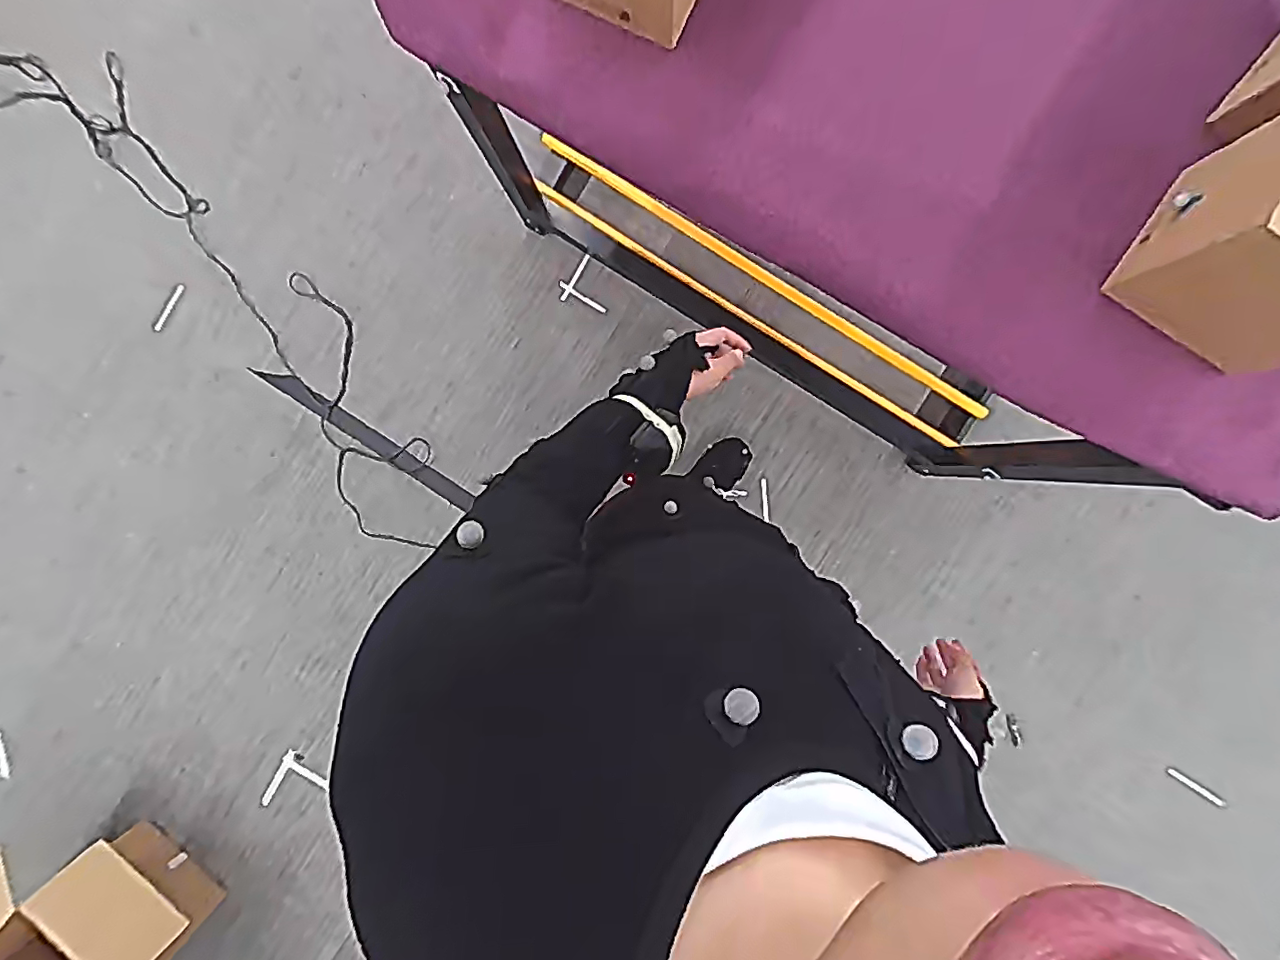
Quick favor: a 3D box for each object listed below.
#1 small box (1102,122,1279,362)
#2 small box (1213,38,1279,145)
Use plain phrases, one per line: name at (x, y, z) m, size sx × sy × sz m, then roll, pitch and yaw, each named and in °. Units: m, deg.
small box at (0.630, -0.233, 0.528) m, size 0.179 × 0.176 × 0.168 m, roll 34°, pitch 92°, yaw 1°
small box at (0.737, -0.403, 0.516) m, size 0.179 × 0.176 × 0.168 m, roll 38°, pitch 95°, yaw -1°
